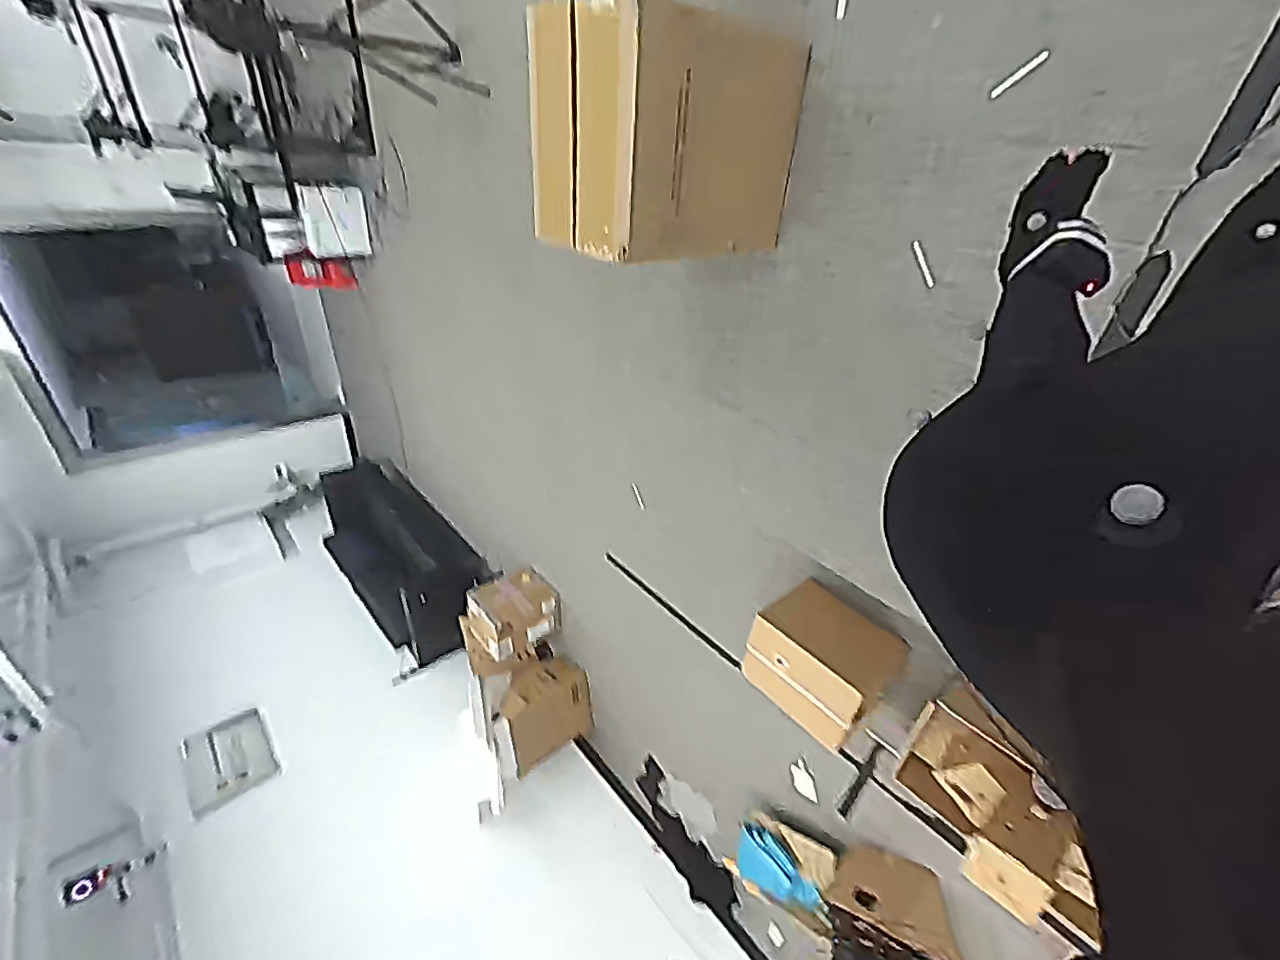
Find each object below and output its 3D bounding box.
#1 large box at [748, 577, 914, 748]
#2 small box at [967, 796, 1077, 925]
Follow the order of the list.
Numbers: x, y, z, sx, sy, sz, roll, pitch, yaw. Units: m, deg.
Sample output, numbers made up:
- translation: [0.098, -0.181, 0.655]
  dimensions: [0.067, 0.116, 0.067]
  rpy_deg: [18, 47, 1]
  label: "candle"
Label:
- translation: [0.644, 0.609, 1.865]
  dimensions: [0.408, 0.320, 0.320]
  rpy_deg: [35, 133, 38]
  label: "large box"
- translation: [0.971, 0.955, 1.373]
  dimensions: [0.168, 0.176, 0.179]
  rpy_deg: [28, 130, 43]
  label: "small box"
